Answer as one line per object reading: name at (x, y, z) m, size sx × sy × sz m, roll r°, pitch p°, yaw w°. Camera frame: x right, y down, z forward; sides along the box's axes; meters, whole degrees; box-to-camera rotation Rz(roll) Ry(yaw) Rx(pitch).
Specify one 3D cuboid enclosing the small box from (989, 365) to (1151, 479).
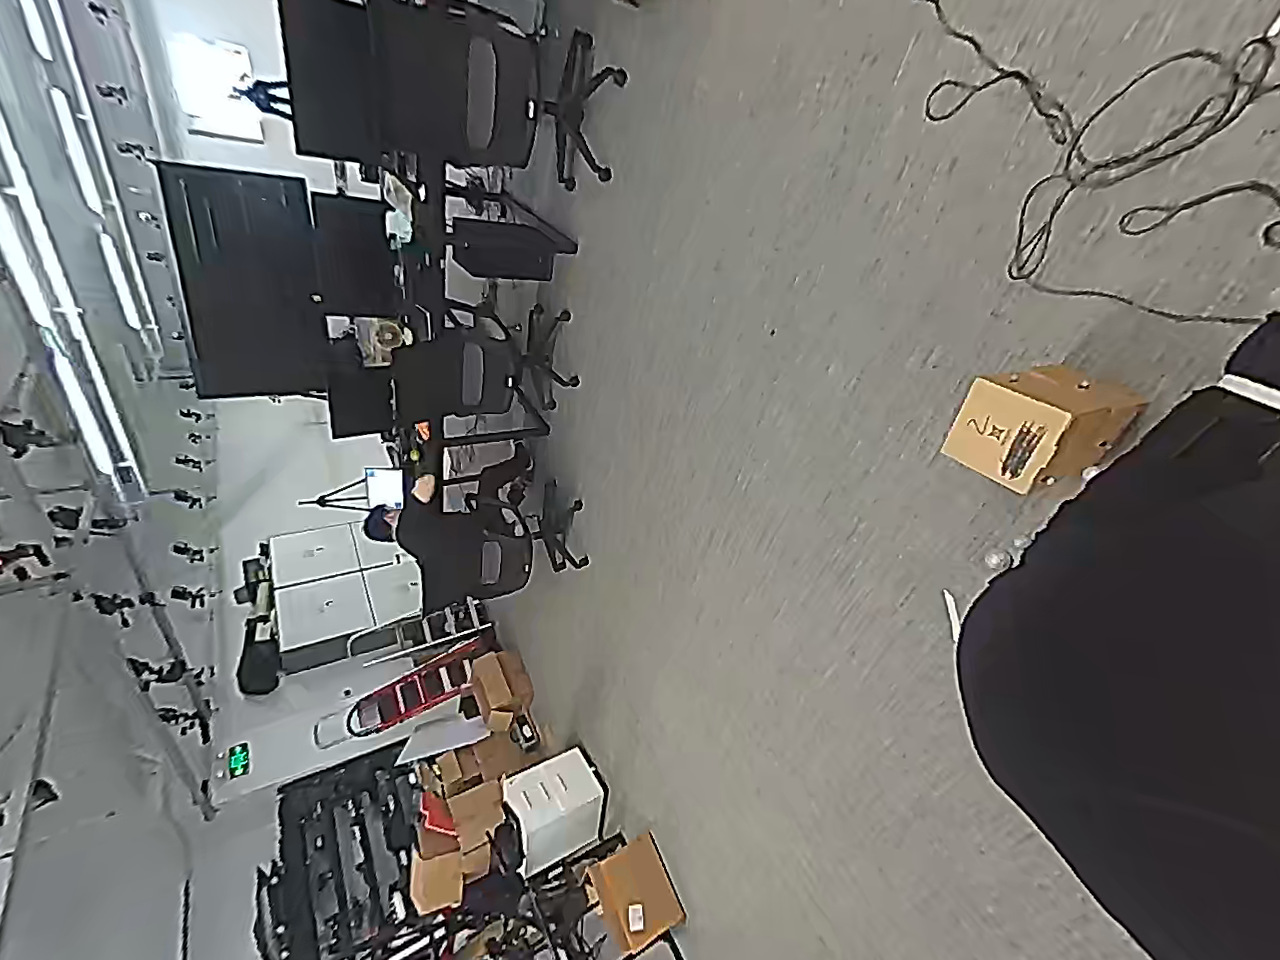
small box at (0.884, -0.128, 1.114) m, size 0.179 × 0.176 × 0.168 m, roll 49°, pitch 138°, yaw 40°
